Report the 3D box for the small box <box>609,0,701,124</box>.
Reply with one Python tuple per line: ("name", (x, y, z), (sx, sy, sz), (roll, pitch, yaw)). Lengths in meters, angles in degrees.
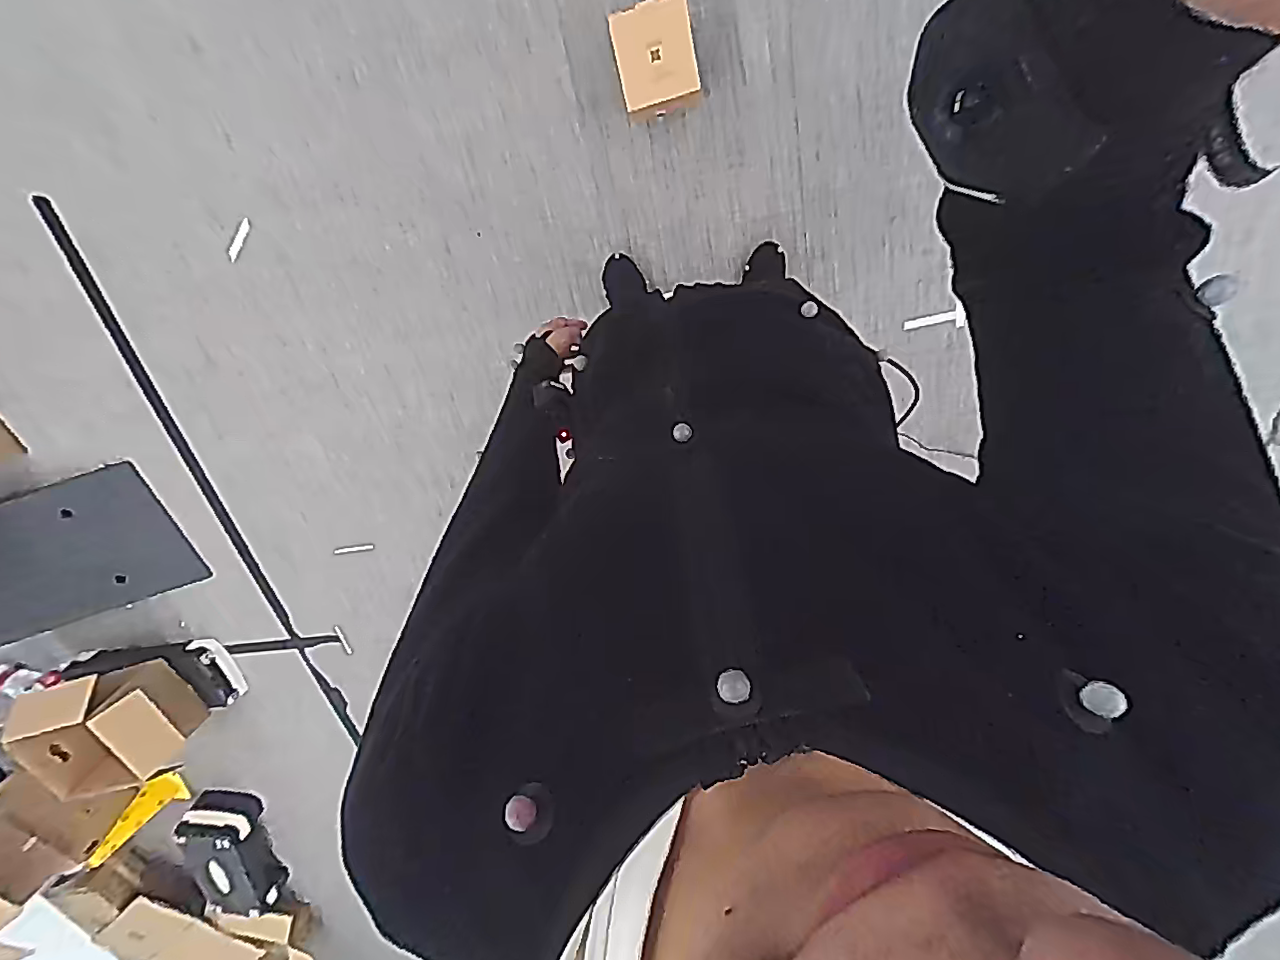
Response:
("small box", (0.037, -0.928, 1.207), (0.168, 0.176, 0.179), (-11, 114, 10))
